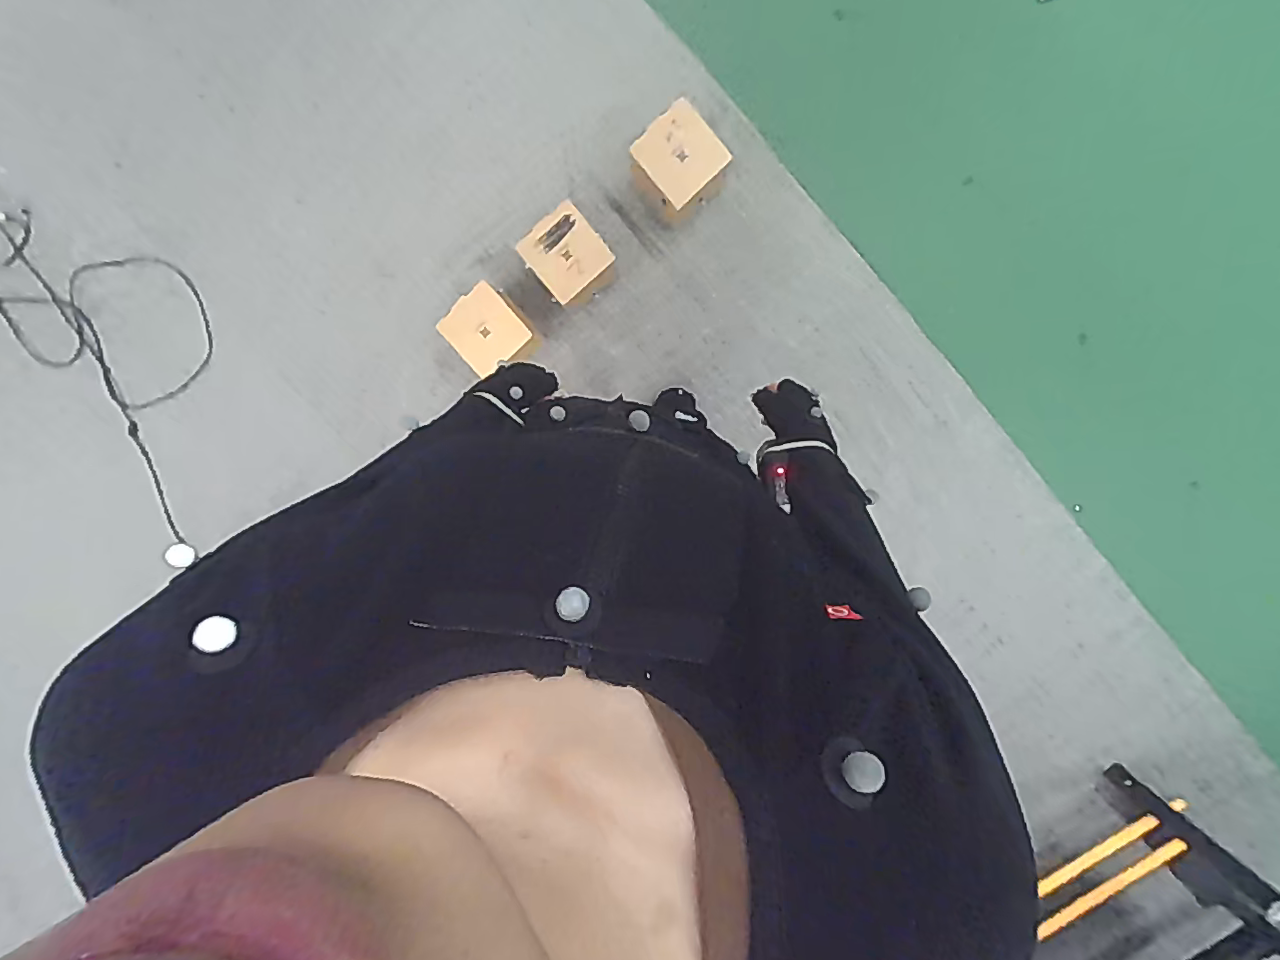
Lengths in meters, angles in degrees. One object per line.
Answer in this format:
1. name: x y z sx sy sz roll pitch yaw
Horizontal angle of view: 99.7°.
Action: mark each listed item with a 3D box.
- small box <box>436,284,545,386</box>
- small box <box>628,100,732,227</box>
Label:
1. small box: -0.360 -0.353 1.344 0.168 0.176 0.179 -42 95 8
2. small box: 0.092 -0.724 1.270 0.168 0.176 0.179 -41 95 7
